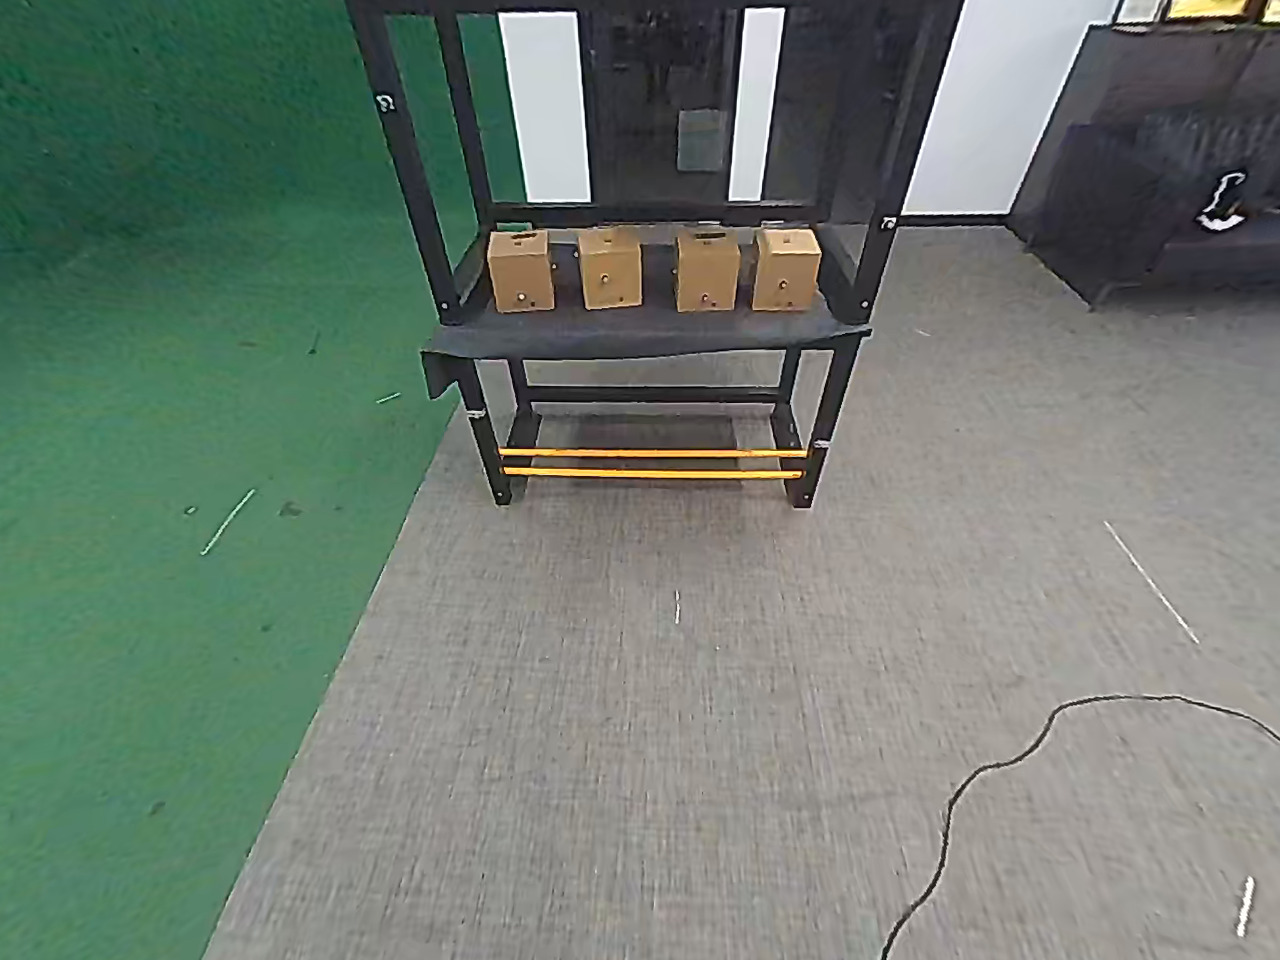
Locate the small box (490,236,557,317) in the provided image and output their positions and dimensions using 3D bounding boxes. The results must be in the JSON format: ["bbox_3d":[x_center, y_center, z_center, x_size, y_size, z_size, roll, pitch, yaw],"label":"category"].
[{"bbox_3d":[-0.337,-0.598,1.590,0.168,0.176,0.179,-5,45,-4],"label":"small box"}]
